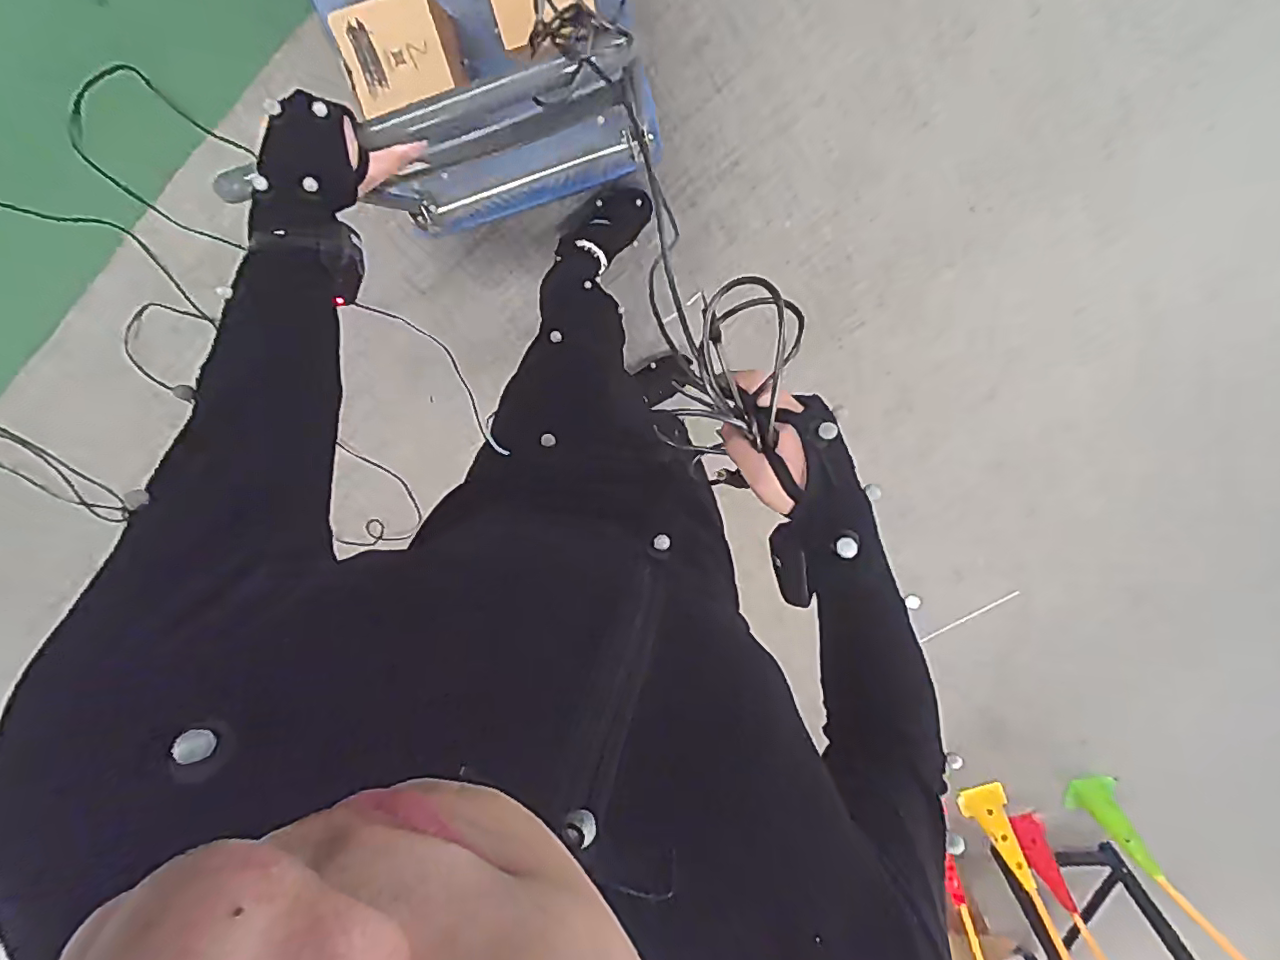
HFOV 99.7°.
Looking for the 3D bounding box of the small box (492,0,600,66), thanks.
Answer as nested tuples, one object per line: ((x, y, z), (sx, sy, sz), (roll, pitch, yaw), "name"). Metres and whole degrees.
((-0.172, -0.864, 0.943), (0.168, 0.176, 0.179), (-13, 118, 7), "small box")
